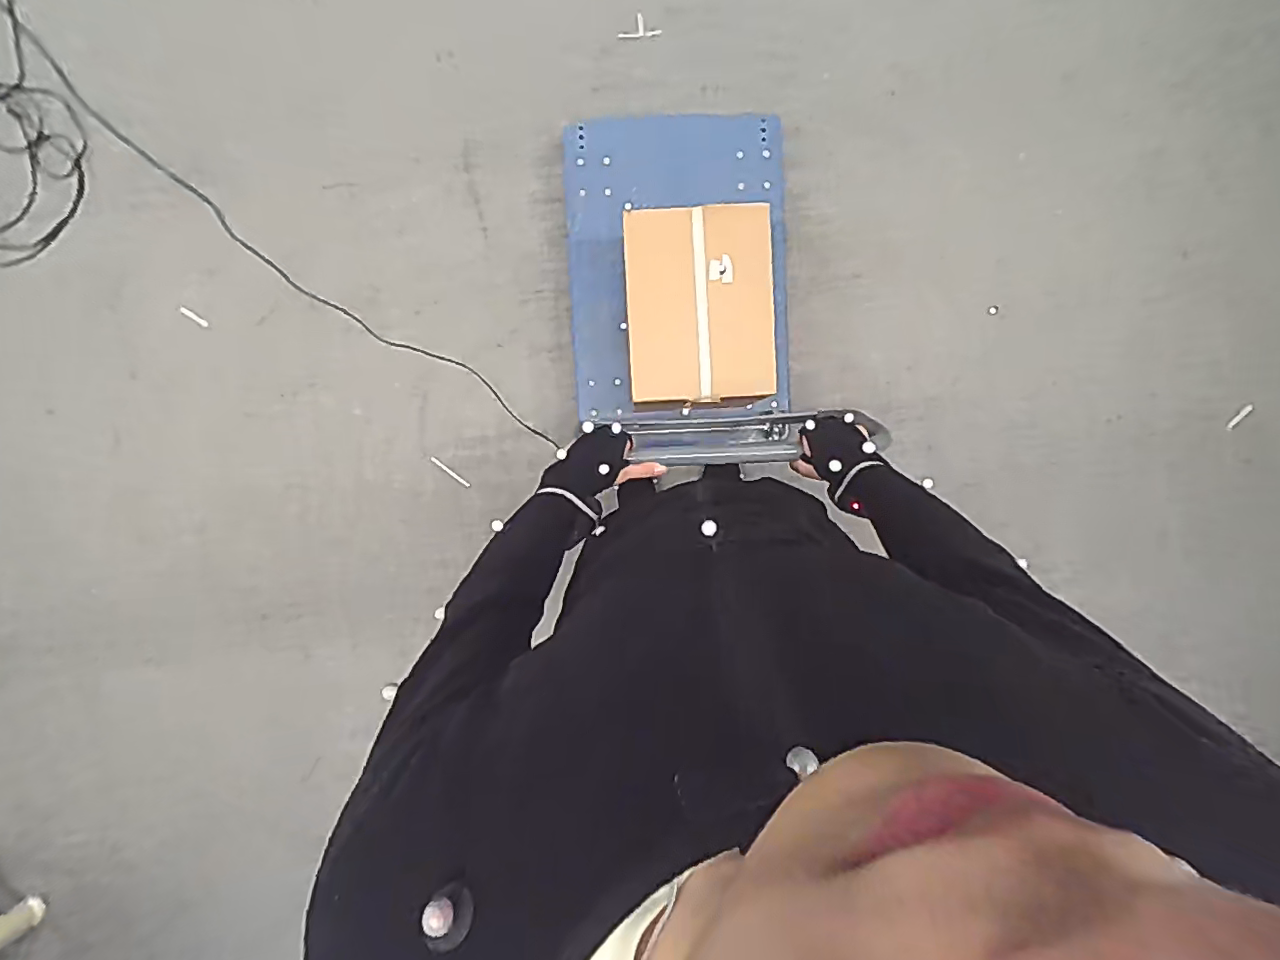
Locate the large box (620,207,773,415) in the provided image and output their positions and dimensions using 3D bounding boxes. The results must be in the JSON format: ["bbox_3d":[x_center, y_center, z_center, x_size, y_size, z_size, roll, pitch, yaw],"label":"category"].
[{"bbox_3d":[0.123,-0.381,1.310,0.320,0.320,0.408,-3,92,-1],"label":"large box"}]
